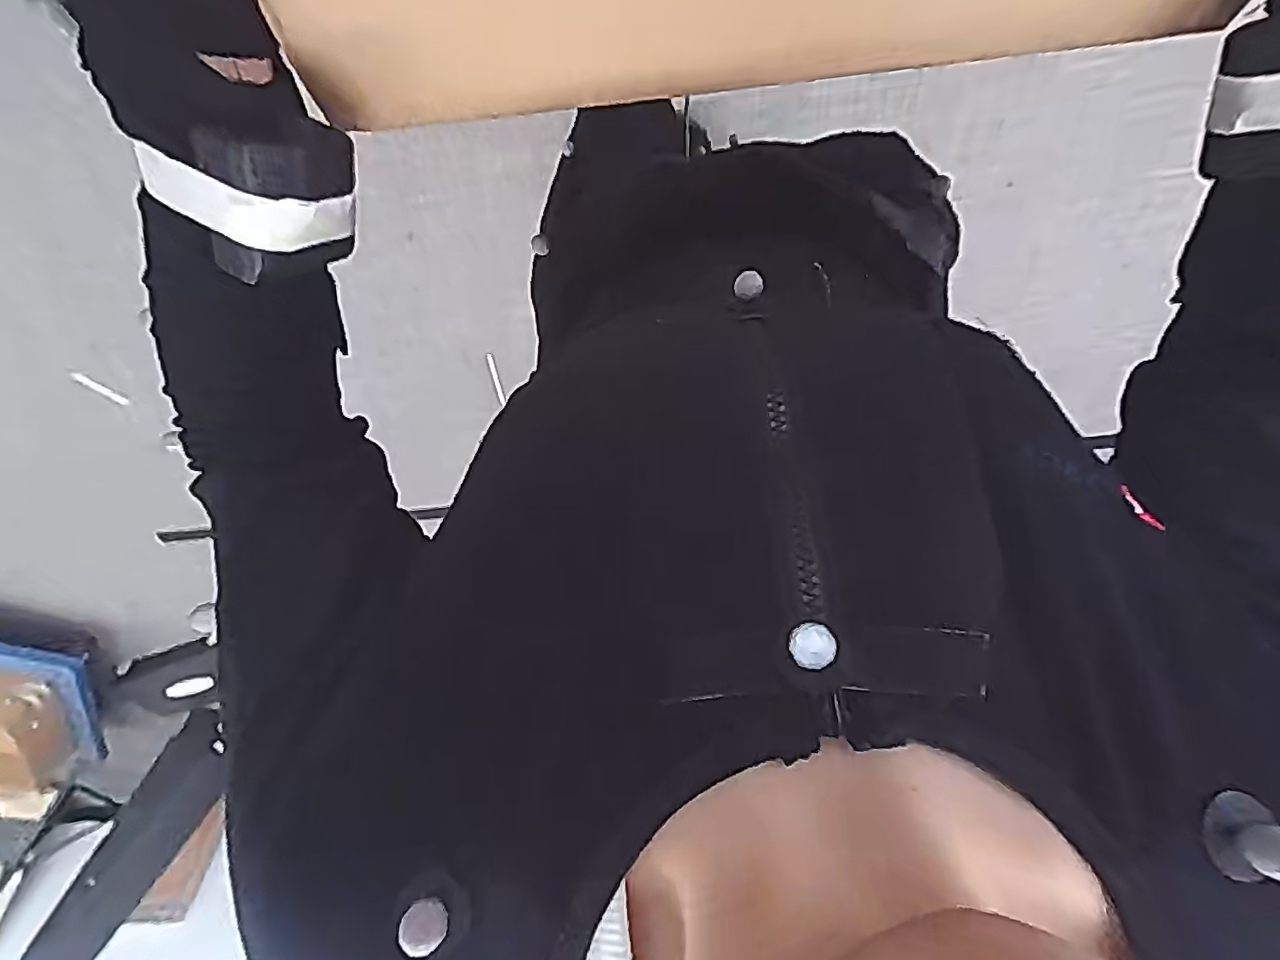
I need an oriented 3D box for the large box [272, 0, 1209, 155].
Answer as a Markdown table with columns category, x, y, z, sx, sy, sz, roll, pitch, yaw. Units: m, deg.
| category | x | y | z | sx | sy | sz | roll | pitch | yaw |
| --- | --- | --- | --- | --- | --- | --- | --- | --- | --- |
| large box | 0.037 | -0.377 | 0.176 | 0.408 | 0.320 | 0.320 | -7 | 157 | 1 |
